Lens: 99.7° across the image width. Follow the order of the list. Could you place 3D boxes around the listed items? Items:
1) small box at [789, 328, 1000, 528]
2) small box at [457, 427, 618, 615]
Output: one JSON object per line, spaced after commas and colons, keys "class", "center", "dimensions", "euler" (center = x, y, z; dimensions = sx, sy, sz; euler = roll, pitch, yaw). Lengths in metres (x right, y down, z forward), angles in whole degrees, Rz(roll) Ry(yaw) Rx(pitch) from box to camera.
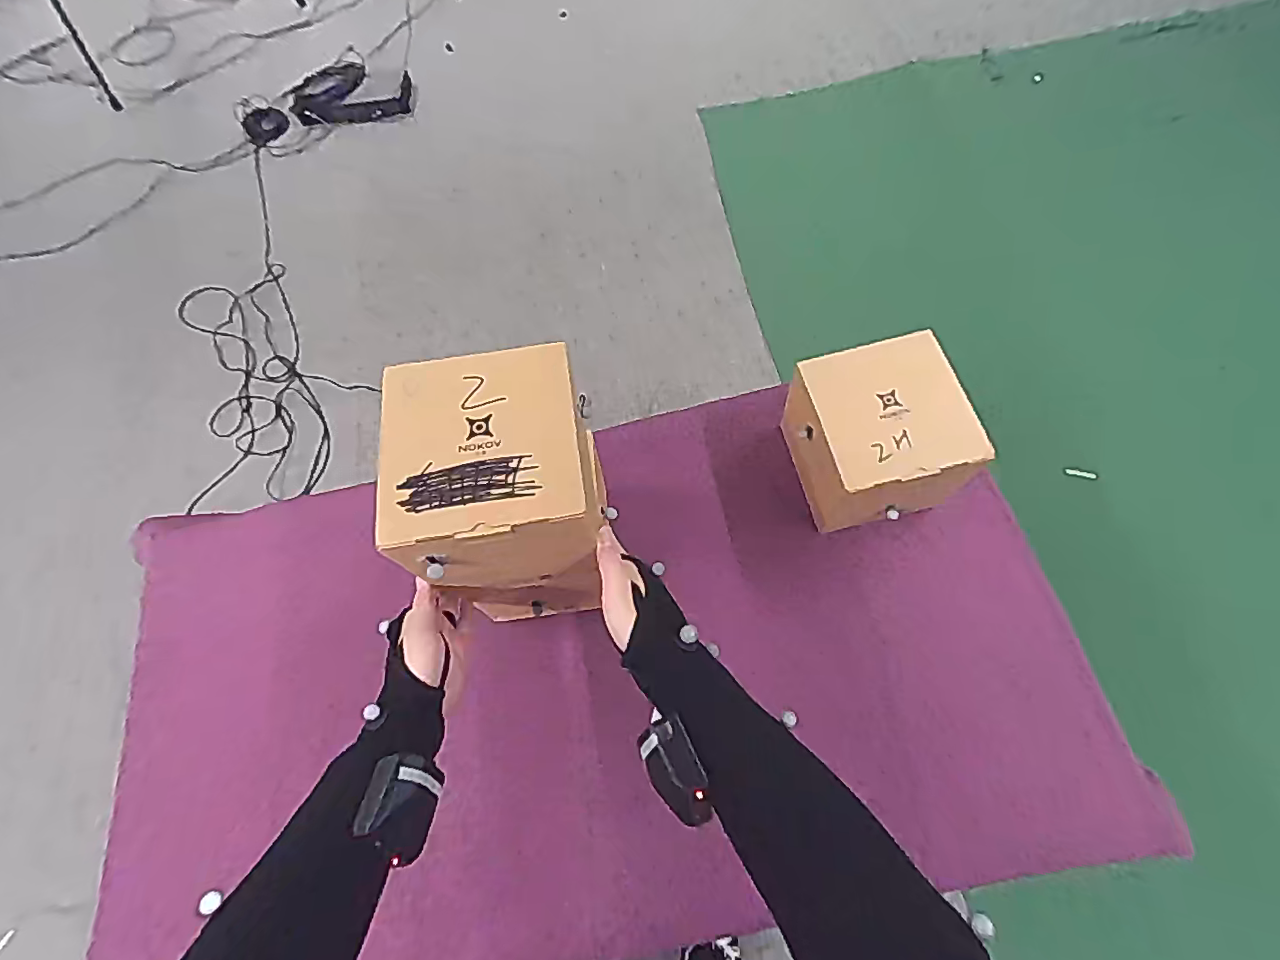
{"class": "small box", "center": [0.298, -0.057, 0.683], "dimensions": [0.168, 0.176, 0.179], "euler": [-13, 68, 3]}
{"class": "small box", "center": [-0.117, 0.056, 0.666], "dimensions": [0.168, 0.176, 0.179], "euler": [-6, 65, -3]}
